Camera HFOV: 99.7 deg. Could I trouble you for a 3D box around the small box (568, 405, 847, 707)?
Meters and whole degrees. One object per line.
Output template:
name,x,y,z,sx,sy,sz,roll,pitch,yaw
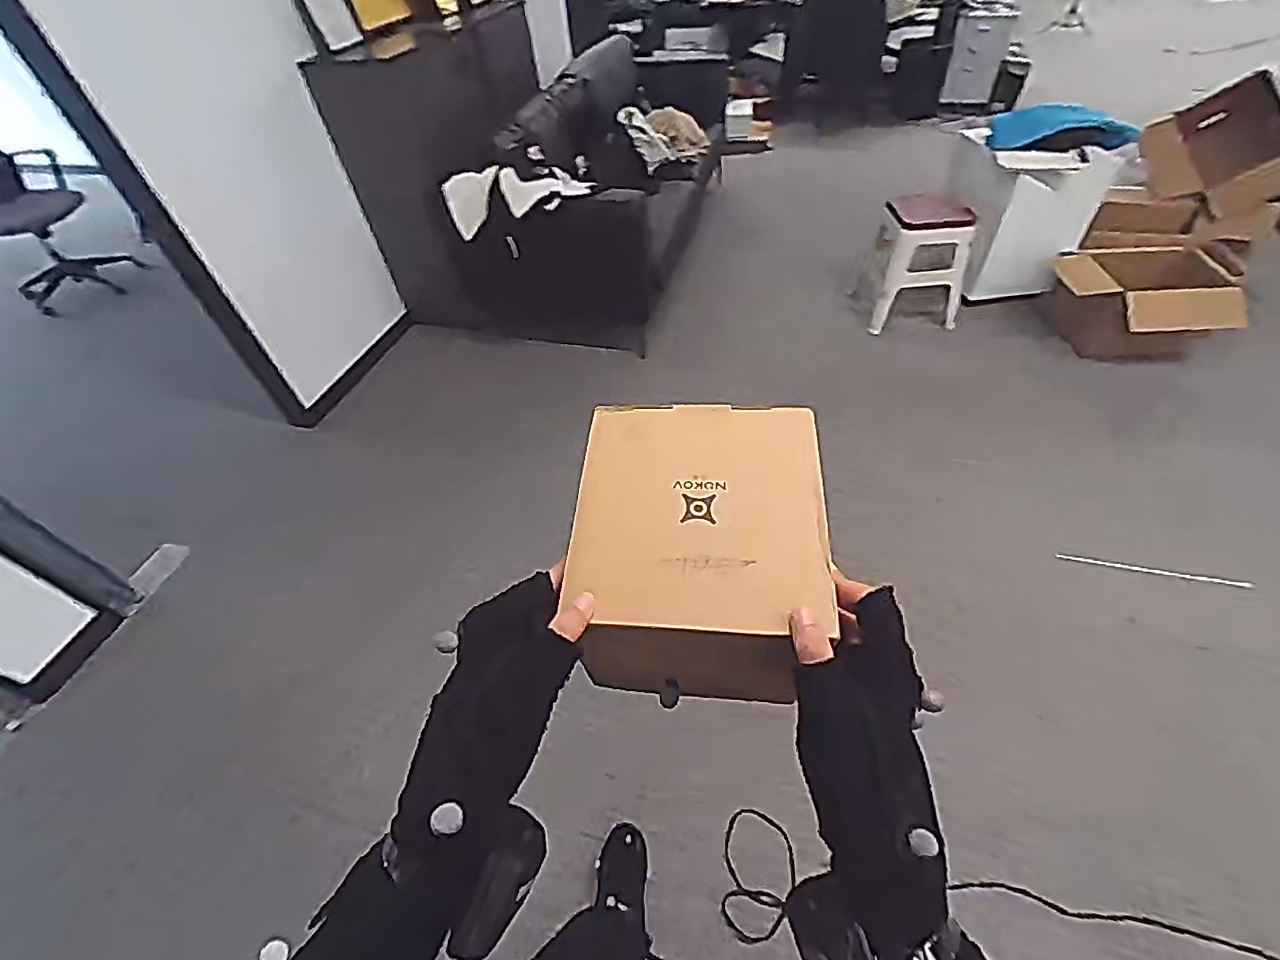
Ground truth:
small box,0.051,0.062,0.425,0.168,0.176,0.179,2,56,7
